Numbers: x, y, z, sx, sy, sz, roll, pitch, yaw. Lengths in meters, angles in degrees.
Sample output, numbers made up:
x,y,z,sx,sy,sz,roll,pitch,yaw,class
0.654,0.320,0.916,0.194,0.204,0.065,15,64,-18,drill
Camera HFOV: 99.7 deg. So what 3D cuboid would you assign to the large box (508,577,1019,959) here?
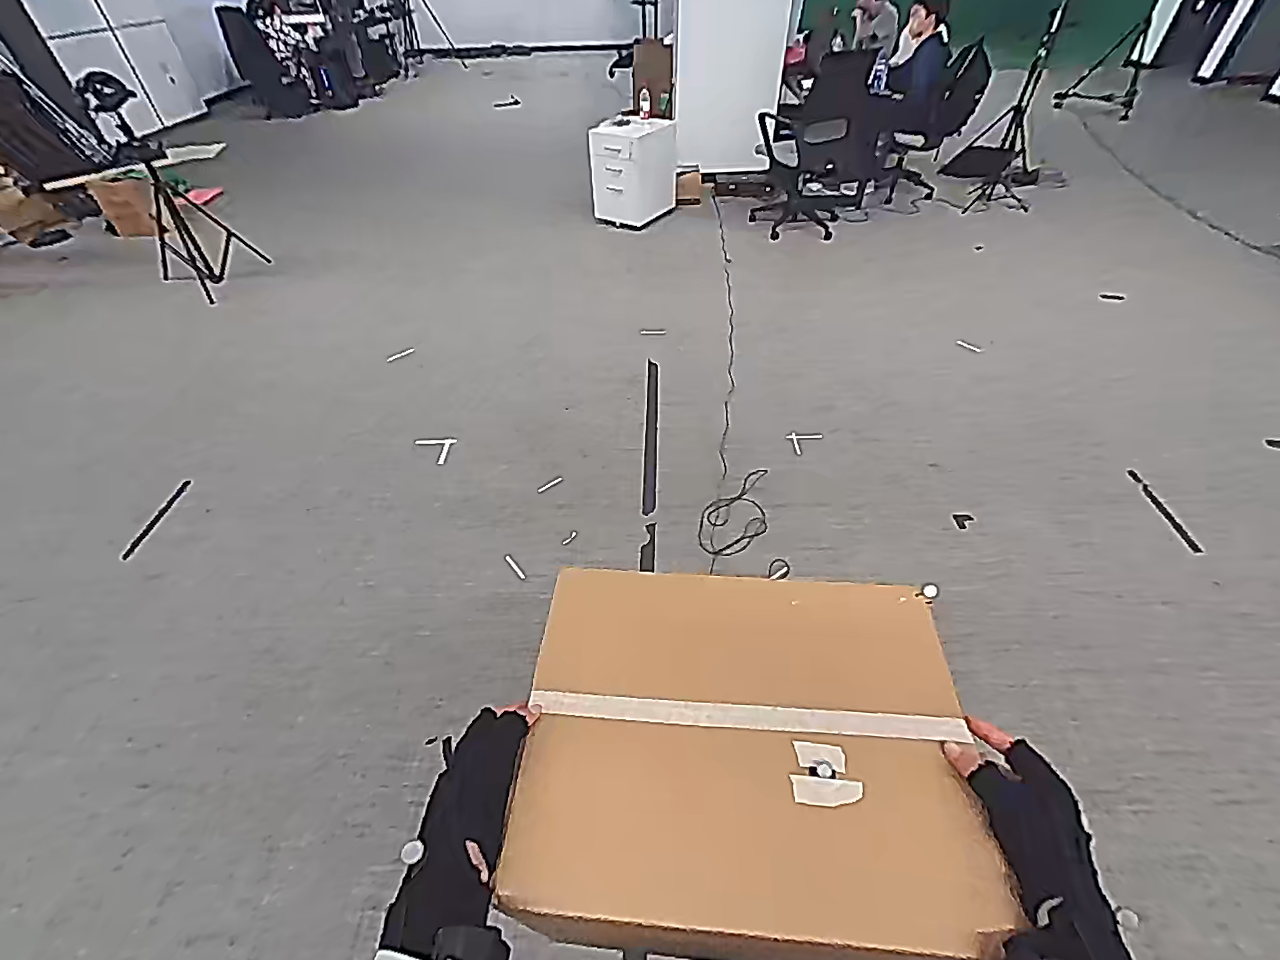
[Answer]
x,y,z,sx,sy,sz,roll,pitch,yaw,class
0.103,0.334,0.626,0.408,0.320,0.320,2,47,5,large box
